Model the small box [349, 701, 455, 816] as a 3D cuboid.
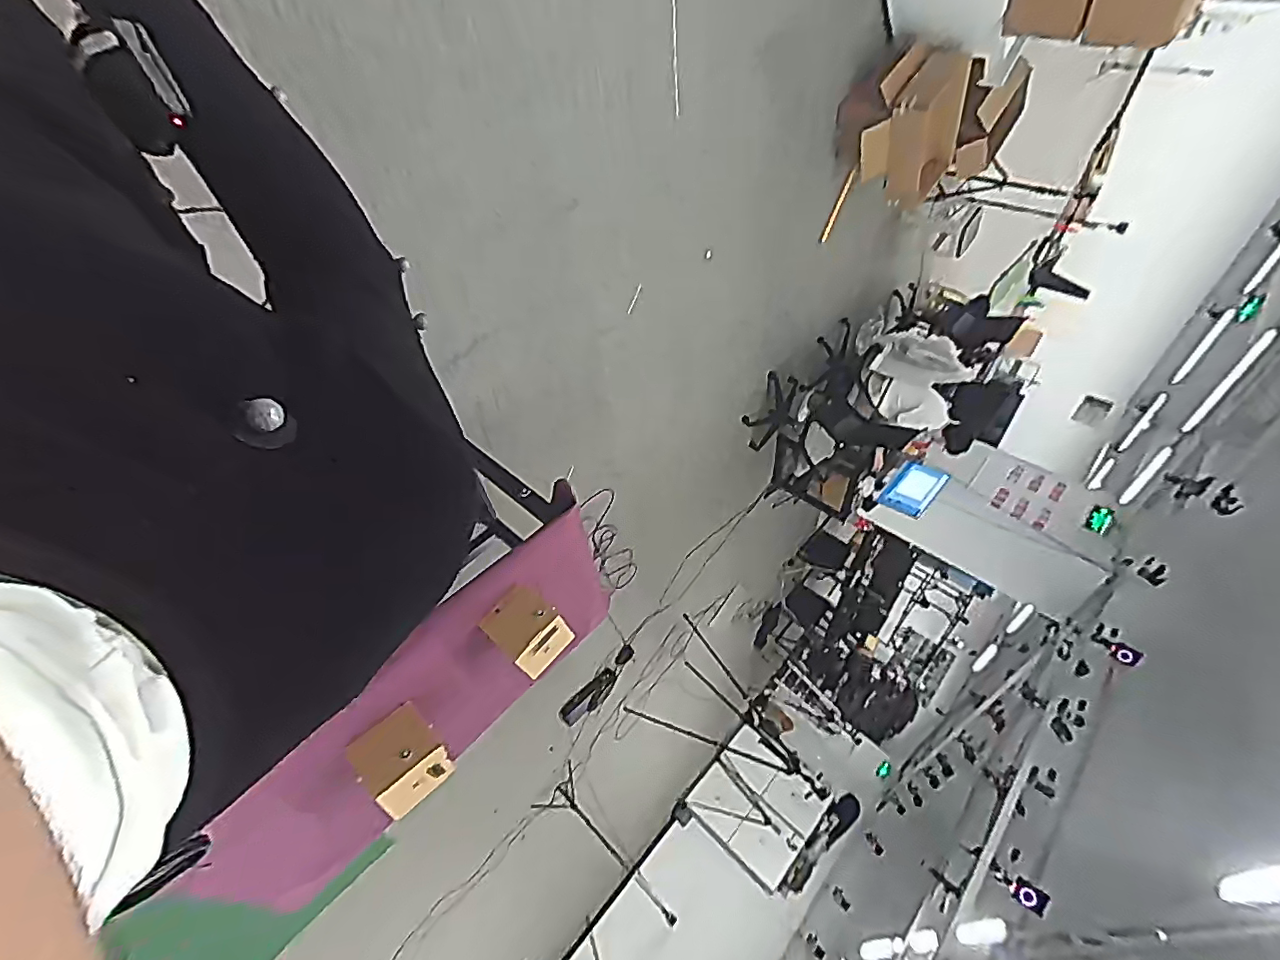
[{"bbox_3d":[-0.615,0.716,1.405,0.179,0.176,0.168,-34,143,-32],"label":"small box"}]
